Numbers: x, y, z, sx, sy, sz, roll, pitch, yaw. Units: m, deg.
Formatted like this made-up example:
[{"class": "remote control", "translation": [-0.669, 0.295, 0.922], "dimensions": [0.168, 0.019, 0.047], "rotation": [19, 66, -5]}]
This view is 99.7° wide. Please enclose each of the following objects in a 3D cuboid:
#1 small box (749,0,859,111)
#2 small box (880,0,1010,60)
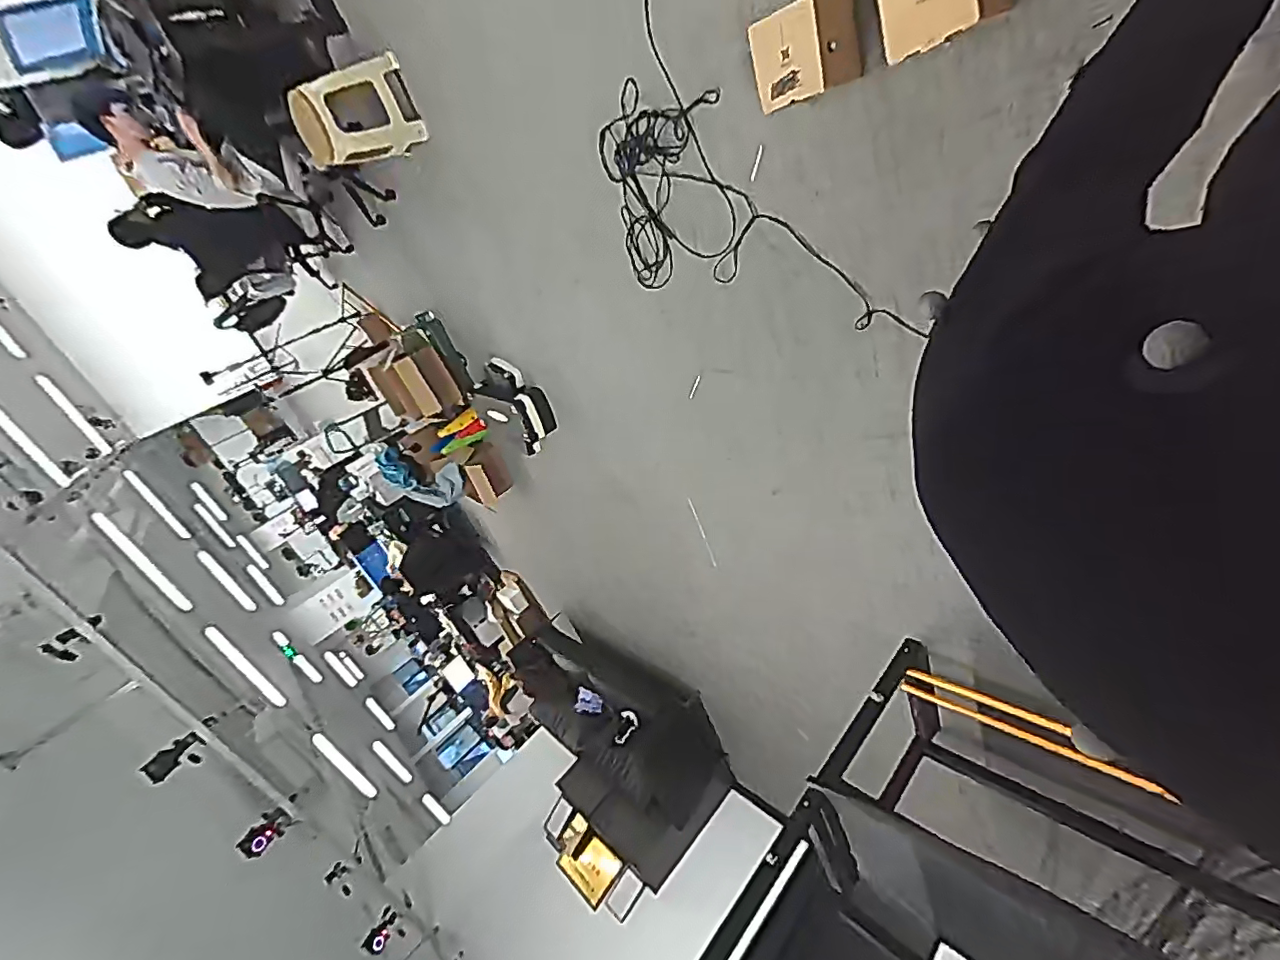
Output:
[{"class": "small box", "translation": [0.378, -0.978, 1.227], "dimensions": [0.168, 0.176, 0.179], "rotation": [14, 133, 47]}, {"class": "small box", "translation": [0.567, -0.935, 1.011], "dimensions": [0.168, 0.176, 0.179], "rotation": [9, 131, 51]}]
